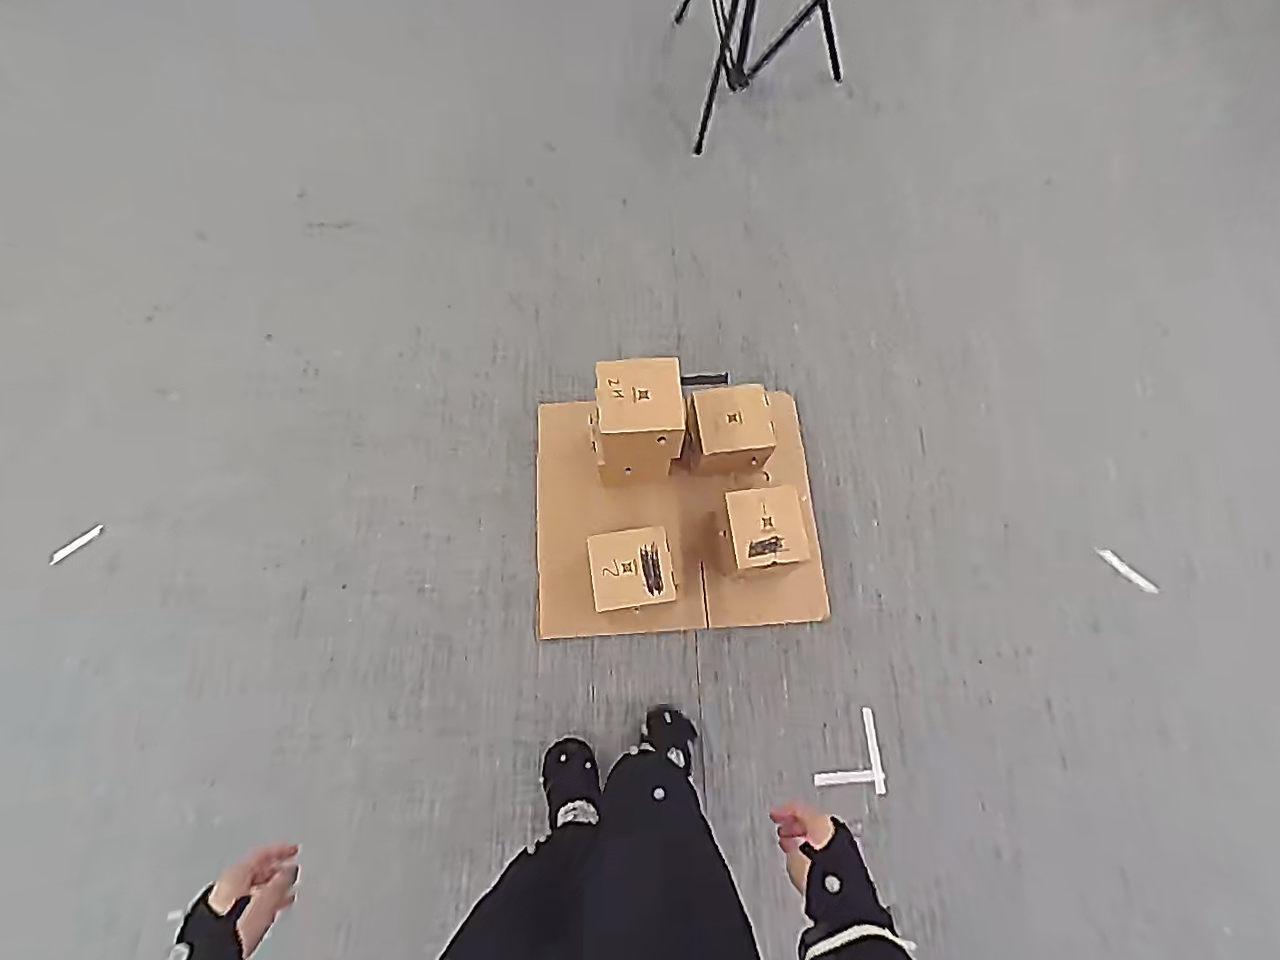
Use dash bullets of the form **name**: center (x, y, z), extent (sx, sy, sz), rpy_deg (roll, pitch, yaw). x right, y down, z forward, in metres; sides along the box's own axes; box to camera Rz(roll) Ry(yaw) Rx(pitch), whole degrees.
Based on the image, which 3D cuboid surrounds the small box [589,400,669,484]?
- **small box**: center (-0.023, -0.096, 1.327), extent (0.179, 0.176, 0.168), rpy_deg (-8, 73, -1)

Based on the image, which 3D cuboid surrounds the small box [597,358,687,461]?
- **small box**: center (0.001, -0.147, 1.170), extent (0.179, 0.176, 0.168), rpy_deg (-4, 72, -1)

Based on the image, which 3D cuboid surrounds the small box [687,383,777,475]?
- **small box**: center (0.220, -0.120, 1.339), extent (0.179, 0.176, 0.168), rpy_deg (-8, 72, -2)

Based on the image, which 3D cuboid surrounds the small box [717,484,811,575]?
- **small box**: center (0.280, 0.122, 1.260), extent (0.168, 0.176, 0.179), rpy_deg (-7, 73, -2)
